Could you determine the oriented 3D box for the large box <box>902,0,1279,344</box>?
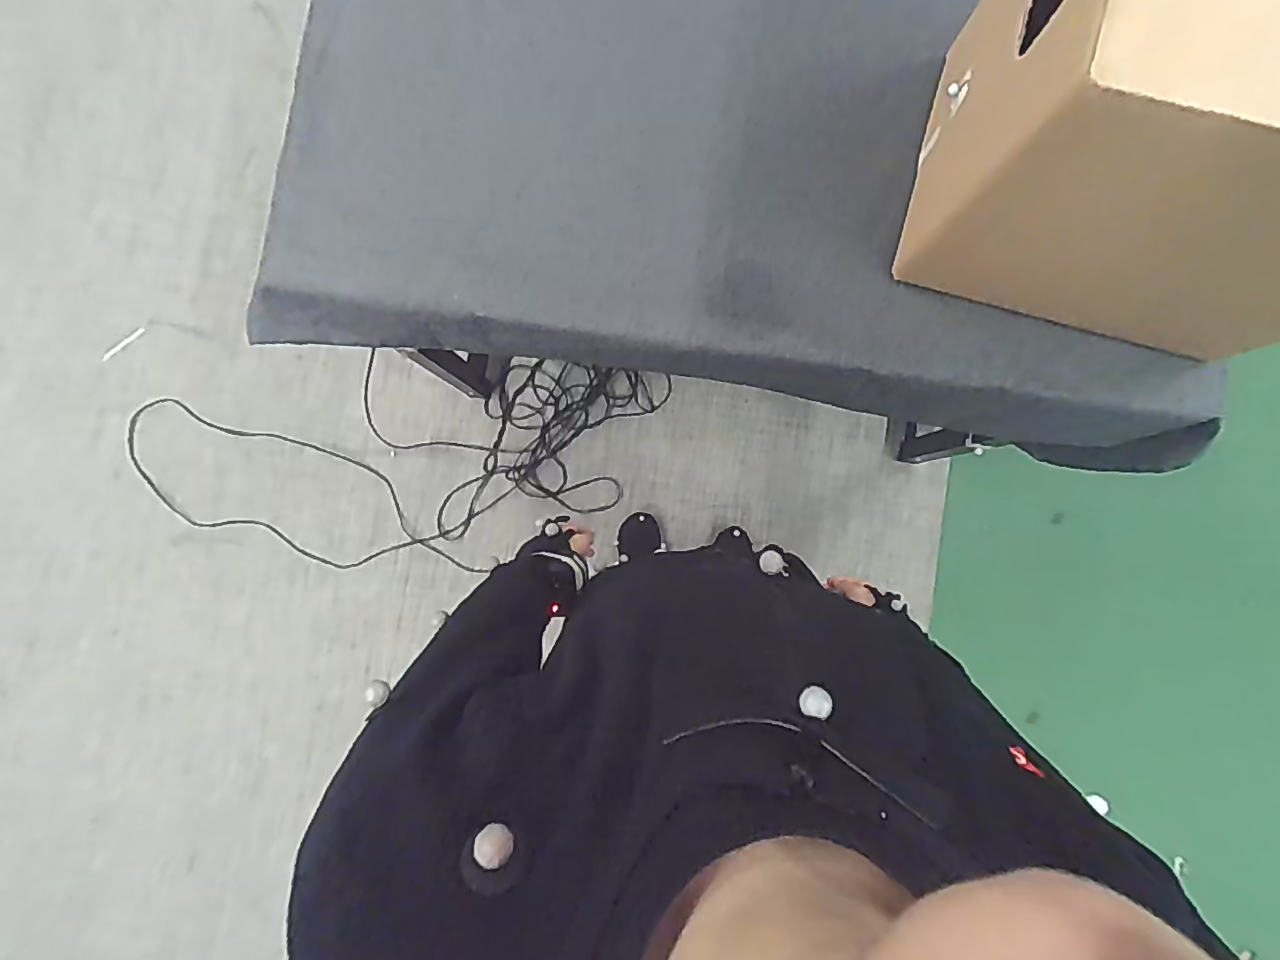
[{"bbox_3d":[0.541,-0.365,0.521,0.408,0.320,0.320,15,87,2],"label":"large box"}]
